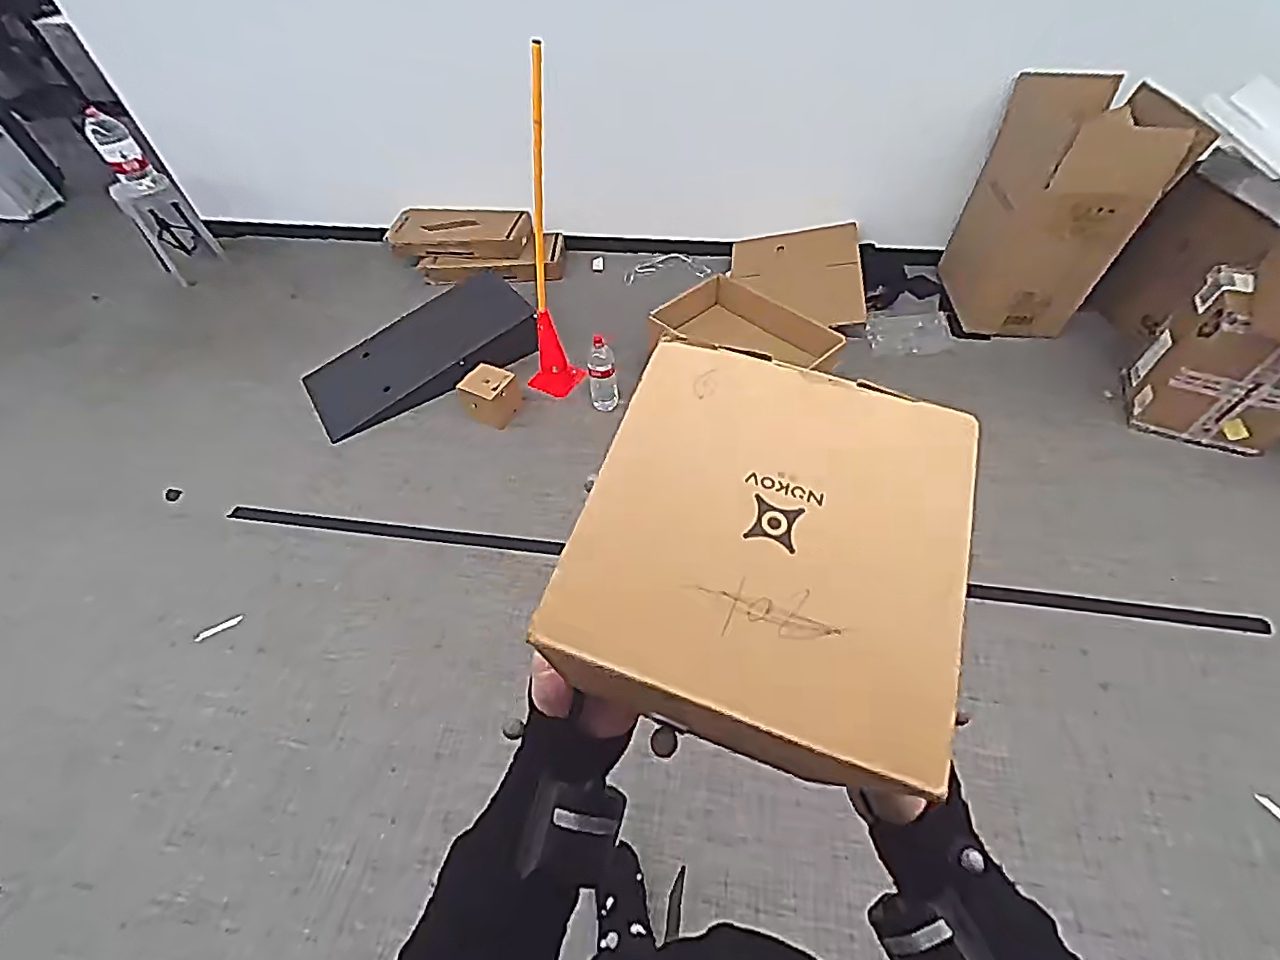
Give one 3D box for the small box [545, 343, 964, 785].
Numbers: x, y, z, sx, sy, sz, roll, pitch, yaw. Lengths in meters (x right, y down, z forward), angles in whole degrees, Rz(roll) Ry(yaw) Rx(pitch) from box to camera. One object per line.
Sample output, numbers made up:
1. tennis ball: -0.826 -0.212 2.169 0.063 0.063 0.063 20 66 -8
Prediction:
1. small box: 0.061 0.056 0.324 0.168 0.176 0.179 18 64 9
